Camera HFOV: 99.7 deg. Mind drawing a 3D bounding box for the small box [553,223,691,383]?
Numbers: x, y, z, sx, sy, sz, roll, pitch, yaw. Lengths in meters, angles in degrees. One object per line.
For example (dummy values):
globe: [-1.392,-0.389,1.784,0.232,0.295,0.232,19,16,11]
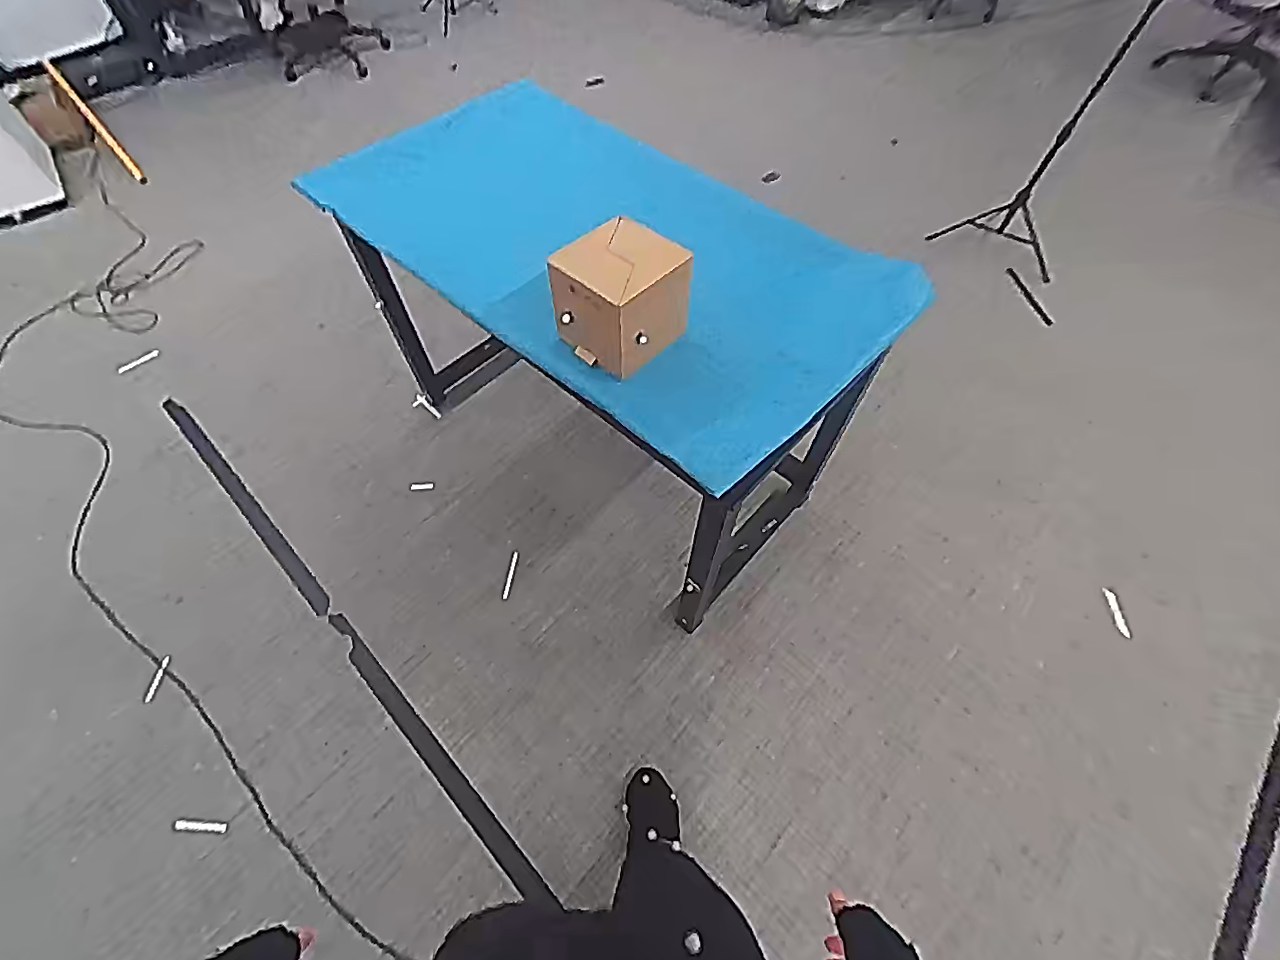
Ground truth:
small box: [-0.031,-0.309,0.933,0.168,0.176,0.179,38,64,20]
